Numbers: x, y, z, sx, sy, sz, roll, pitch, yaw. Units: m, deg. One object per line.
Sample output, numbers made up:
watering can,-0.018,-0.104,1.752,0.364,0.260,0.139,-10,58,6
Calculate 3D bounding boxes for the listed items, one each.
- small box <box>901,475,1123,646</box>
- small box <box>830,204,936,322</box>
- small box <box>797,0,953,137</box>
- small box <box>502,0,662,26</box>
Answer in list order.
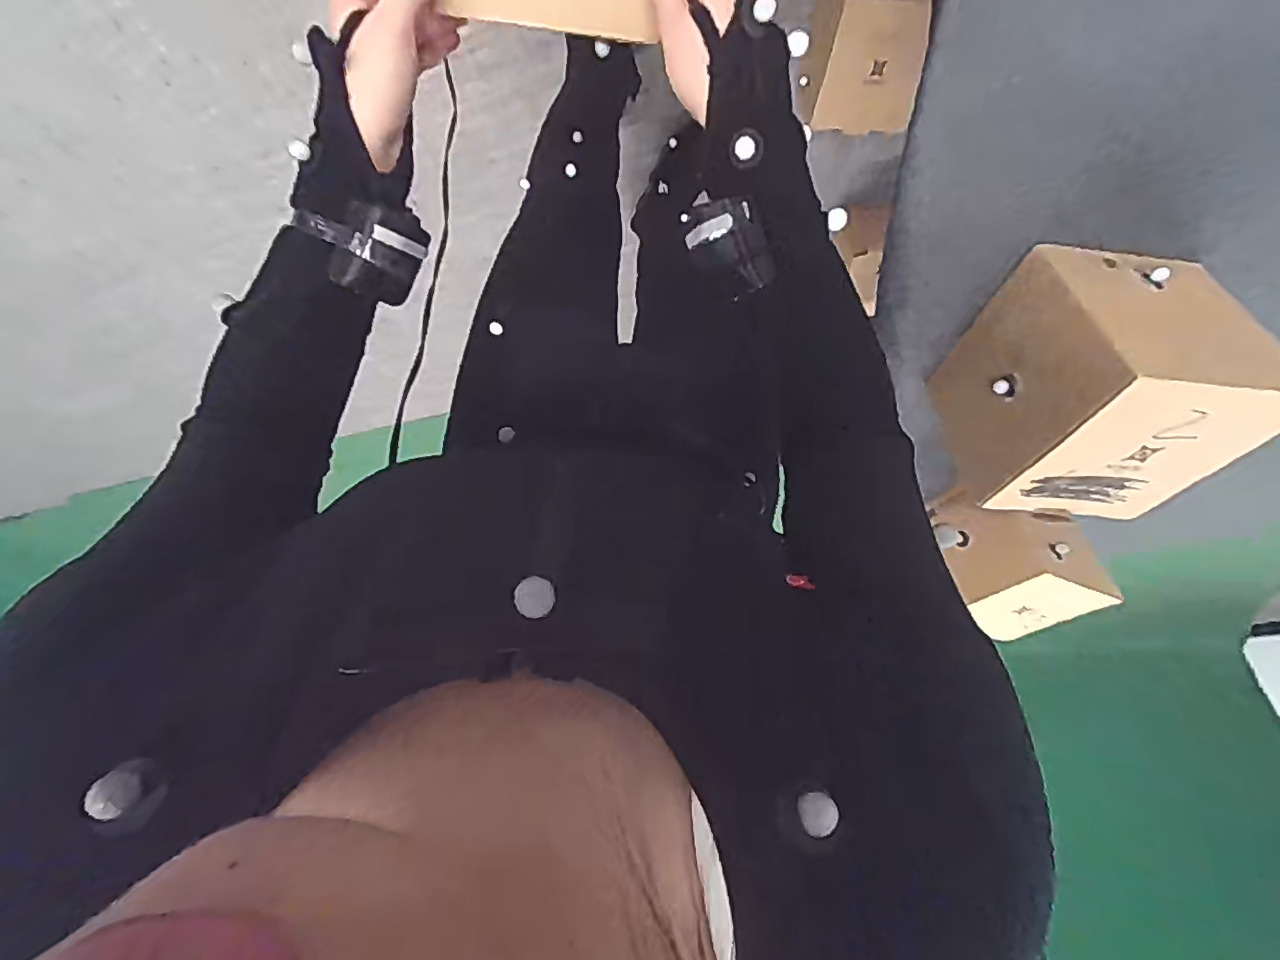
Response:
small box,0.510,0.115,0.768,0.179,0.176,0.168,18,139,-23
small box,0.523,-0.481,1.193,0.168,0.176,0.179,-6,146,10
small box,0.367,-0.697,0.885,0.168,0.176,0.179,2,144,-2
small box,-0.070,-0.425,0.353,0.179,0.176,0.168,0,137,-10
